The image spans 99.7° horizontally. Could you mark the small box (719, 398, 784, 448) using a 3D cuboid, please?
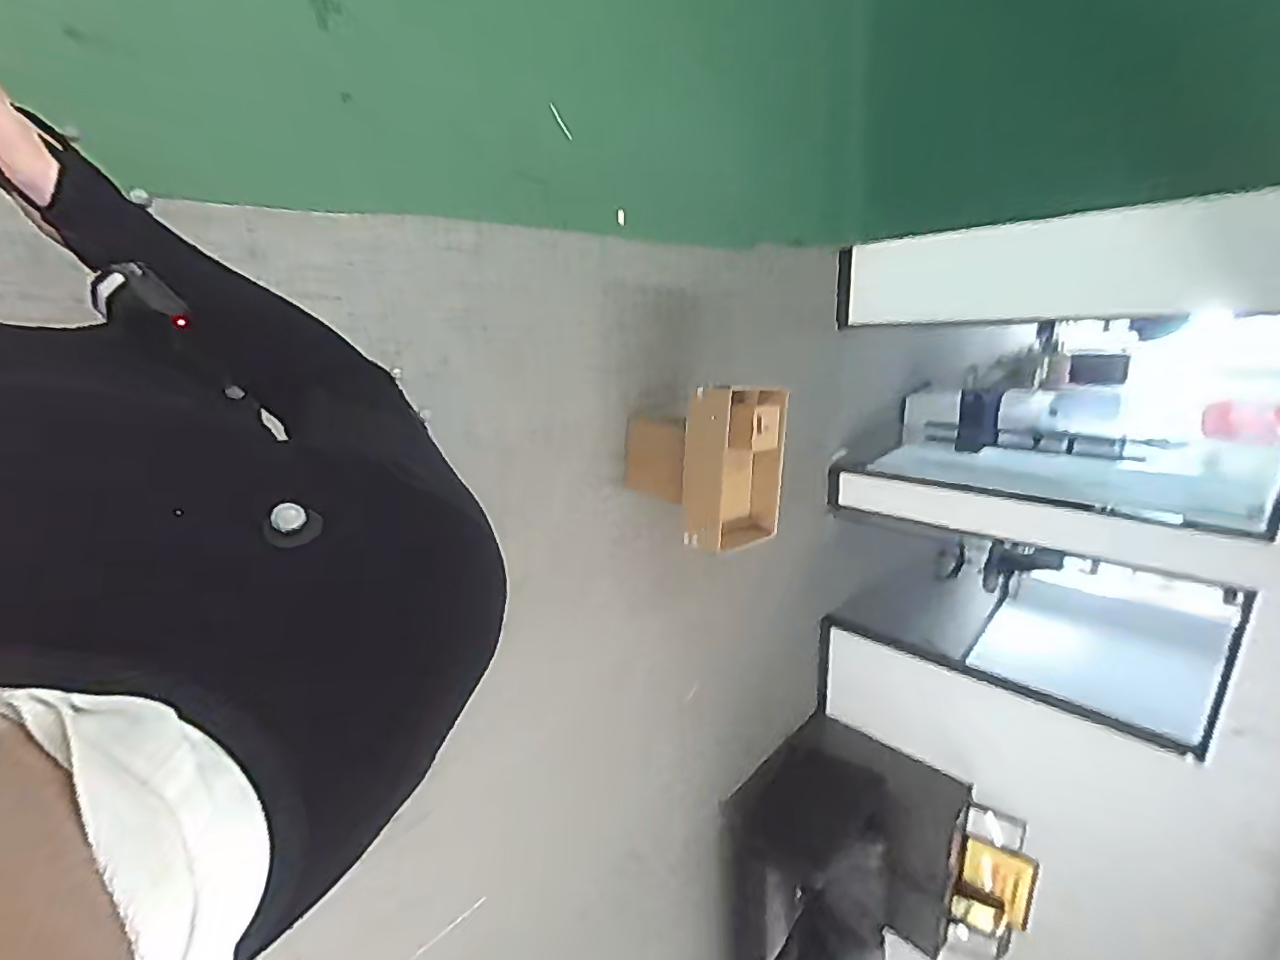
[{"bbox_3d":[0.415,-0.217,2.032,0.179,0.176,0.168,-10,108,-44],"label":"small box"}]
